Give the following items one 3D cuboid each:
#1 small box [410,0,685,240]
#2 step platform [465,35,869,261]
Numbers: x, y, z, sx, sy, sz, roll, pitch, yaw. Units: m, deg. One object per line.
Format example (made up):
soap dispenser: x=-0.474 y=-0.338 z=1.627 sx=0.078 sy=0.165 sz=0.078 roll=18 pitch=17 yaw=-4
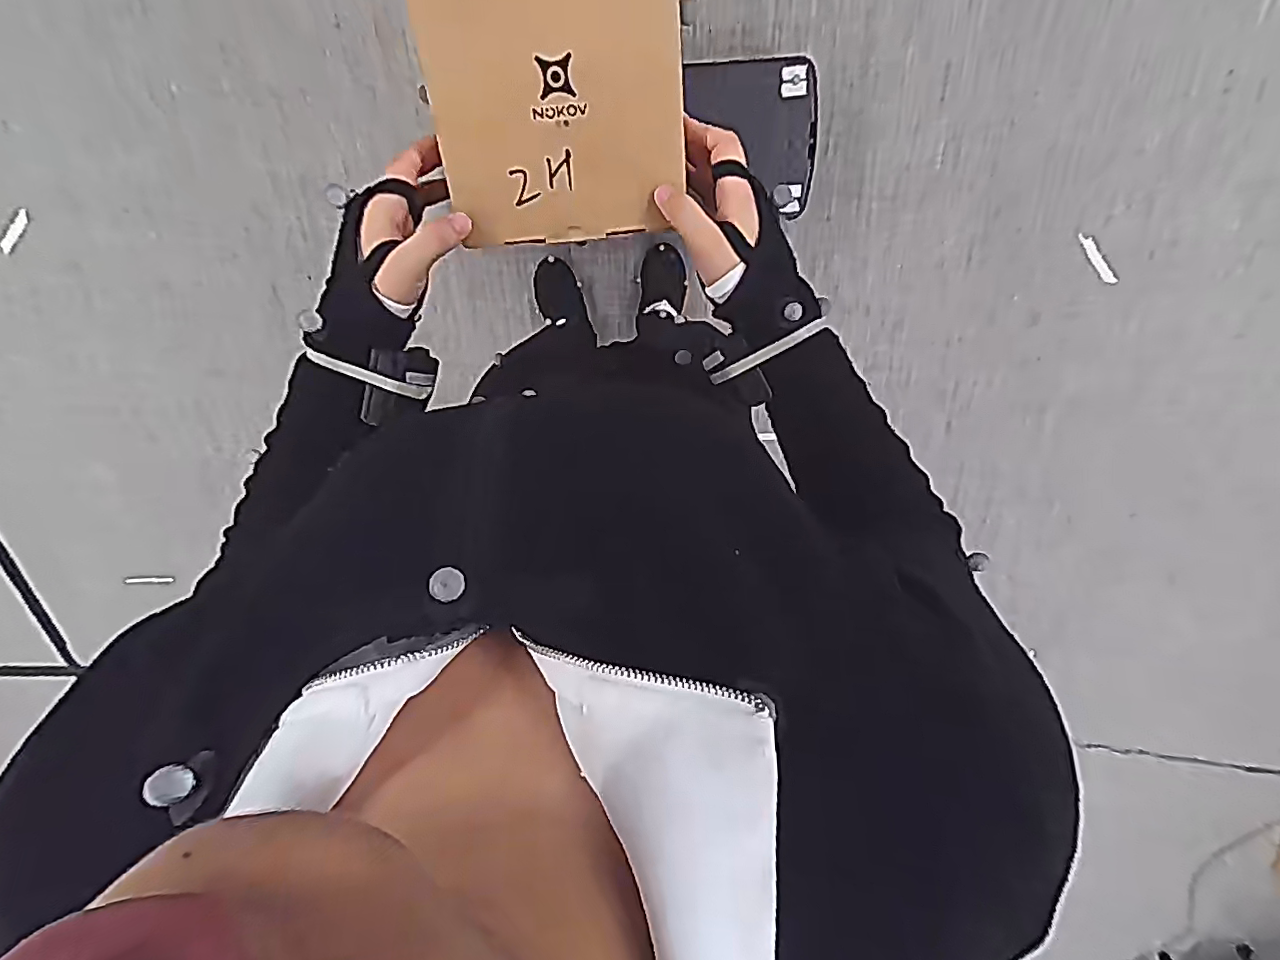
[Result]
small box: x=-0.059 y=-0.291 z=0.415 sx=0.168 sy=0.176 sz=0.179 roll=-5 pitch=120 yaw=-1
step platform: x=0.023 y=-0.562 z=0.957 sx=0.684 sy=0.204 sz=0.286 roll=-3 pitch=115 yaw=1
